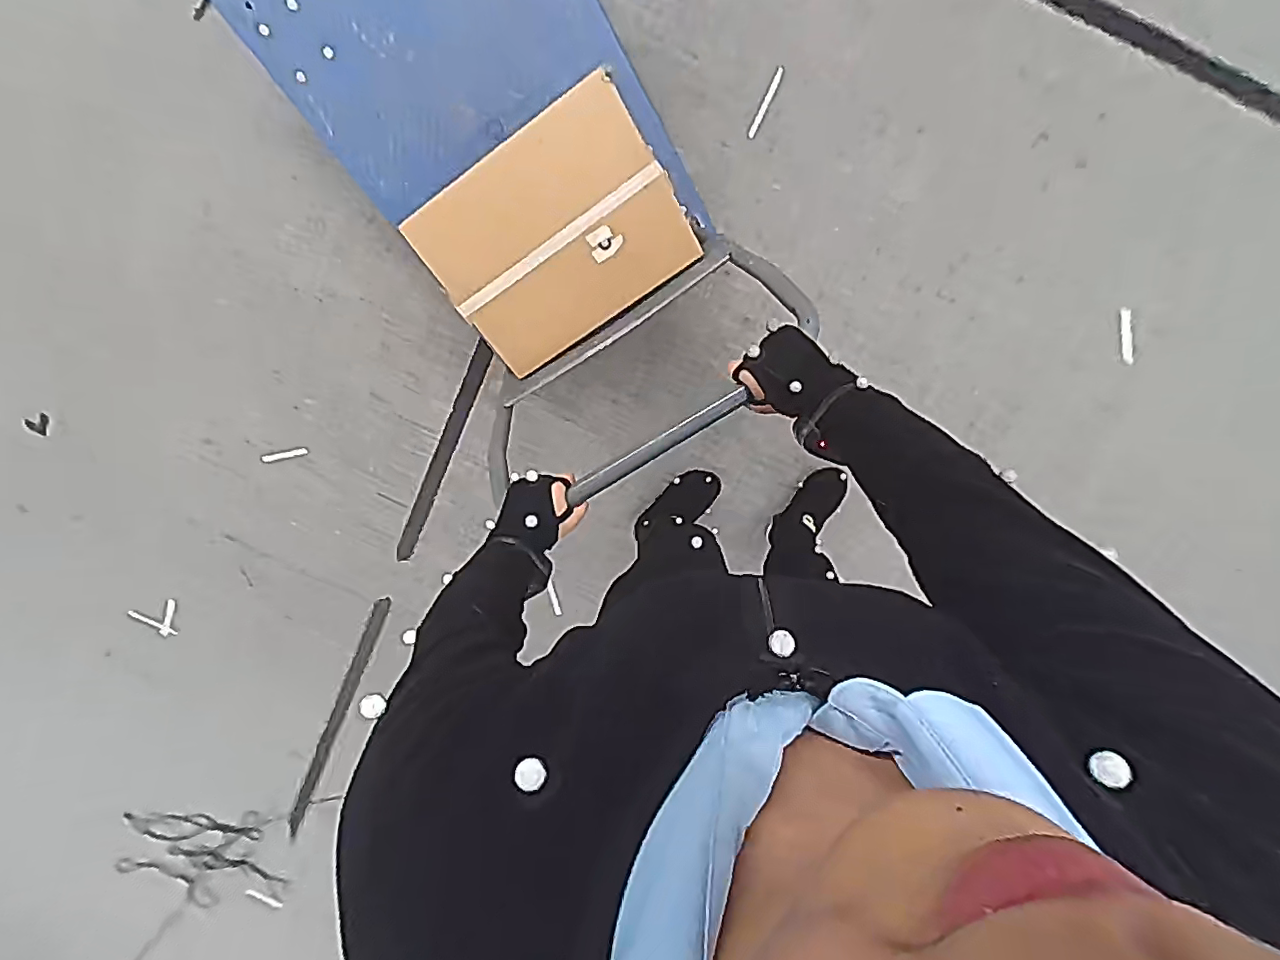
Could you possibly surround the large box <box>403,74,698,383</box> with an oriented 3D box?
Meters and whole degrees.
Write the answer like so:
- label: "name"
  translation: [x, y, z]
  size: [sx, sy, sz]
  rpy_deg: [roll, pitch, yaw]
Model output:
- label: "large box"
  translation: [-0.160, -0.458, 1.031]
  size: [0.408, 0.320, 0.320]
  rpy_deg: [-33, 118, 10]
